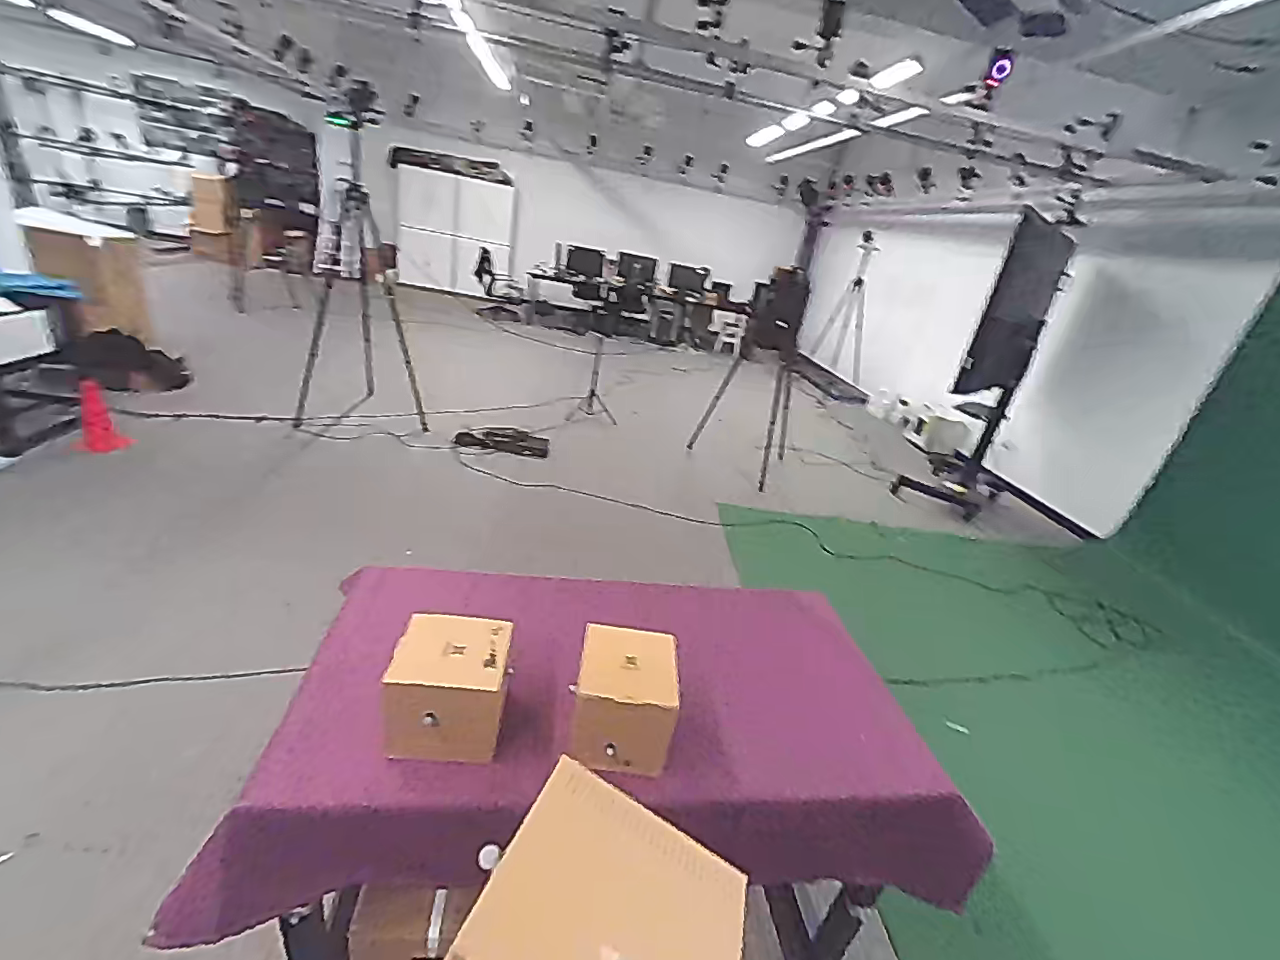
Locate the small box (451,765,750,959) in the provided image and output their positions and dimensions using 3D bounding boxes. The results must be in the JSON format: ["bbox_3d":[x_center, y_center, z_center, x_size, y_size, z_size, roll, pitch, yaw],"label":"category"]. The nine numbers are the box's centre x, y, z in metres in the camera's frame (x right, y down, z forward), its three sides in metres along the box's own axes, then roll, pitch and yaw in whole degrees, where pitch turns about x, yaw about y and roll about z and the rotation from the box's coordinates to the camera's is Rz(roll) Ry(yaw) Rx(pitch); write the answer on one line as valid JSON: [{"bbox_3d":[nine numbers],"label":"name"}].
[{"bbox_3d":[-0.036,0.352,0.388,0.179,0.168,0.176,31,17,8],"label":"small box"}]

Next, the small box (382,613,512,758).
[{"bbox_3d":[-0.322,0.352,0.931,0.179,0.176,0.168,6,26,-8],"label":"small box"}]

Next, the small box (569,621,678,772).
[{"bbox_3d":[-0.031,0.387,0.978,0.168,0.176,0.179,9,26,-4],"label":"small box"}]
